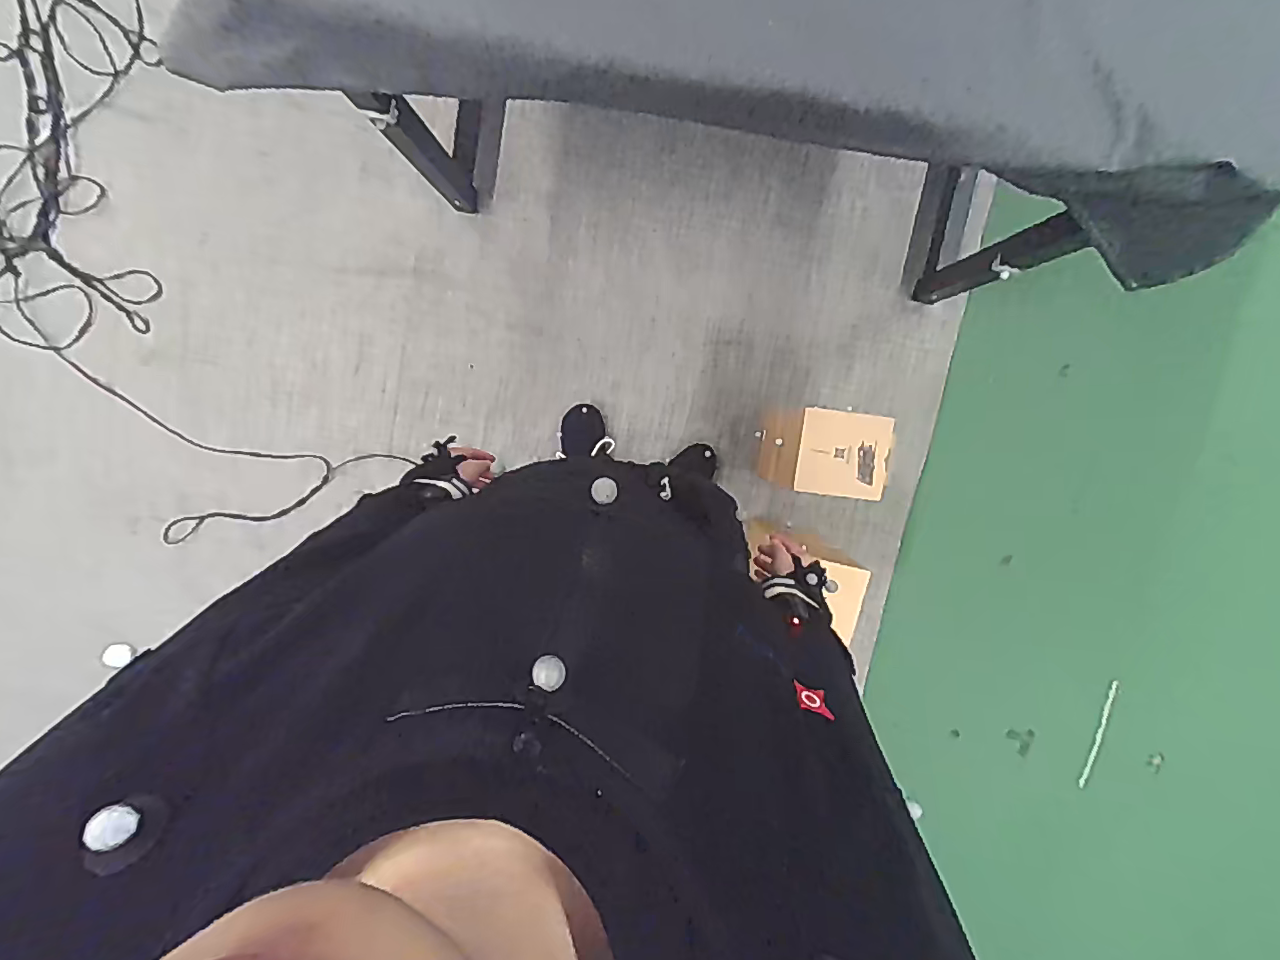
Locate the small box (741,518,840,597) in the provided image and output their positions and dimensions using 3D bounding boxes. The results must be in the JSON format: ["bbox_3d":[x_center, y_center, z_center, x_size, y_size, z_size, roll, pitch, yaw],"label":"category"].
[{"bbox_3d":[0.356,0.198,1.315,0.179,0.176,0.168,12,99,0],"label":"small box"}]

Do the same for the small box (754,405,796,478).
[{"bbox_3d":[0.382,-0.086,1.277,0.179,0.176,0.168,8,97,0],"label":"small box"}]

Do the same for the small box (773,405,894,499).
[{"bbox_3d":[0.389,-0.064,1.114,0.179,0.176,0.168,7,97,0],"label":"small box"}]

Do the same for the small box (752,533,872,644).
[{"bbox_3d":[0.356,0.223,1.154,0.179,0.176,0.168,13,98,-2],"label":"small box"}]
